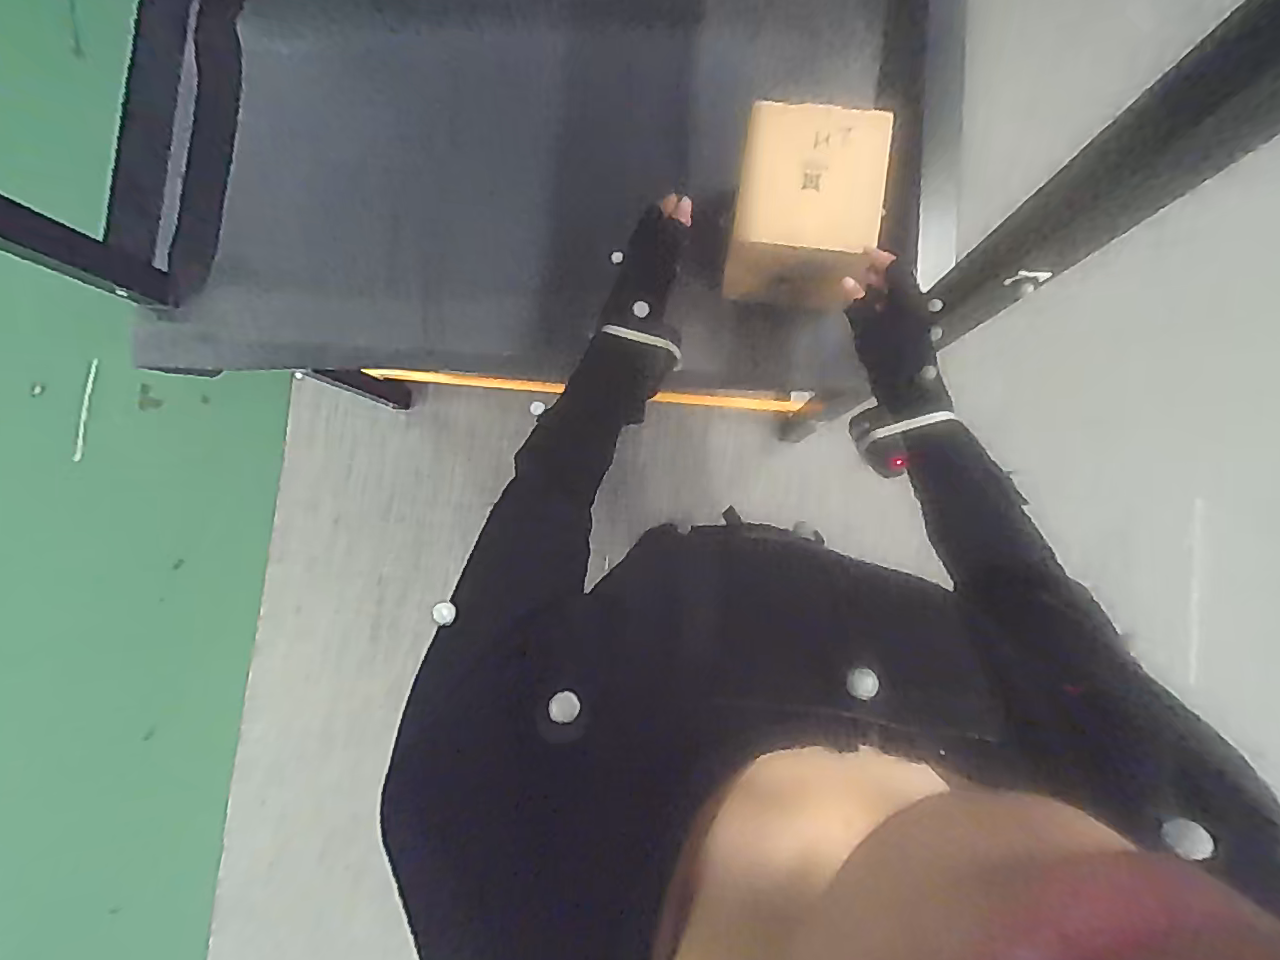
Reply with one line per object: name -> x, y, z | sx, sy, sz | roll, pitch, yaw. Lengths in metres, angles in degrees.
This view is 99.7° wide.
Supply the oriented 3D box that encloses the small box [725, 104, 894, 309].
small box -> 0.208, -0.343, 0.709 | 0.168, 0.176, 0.179 | 9, 86, 4
